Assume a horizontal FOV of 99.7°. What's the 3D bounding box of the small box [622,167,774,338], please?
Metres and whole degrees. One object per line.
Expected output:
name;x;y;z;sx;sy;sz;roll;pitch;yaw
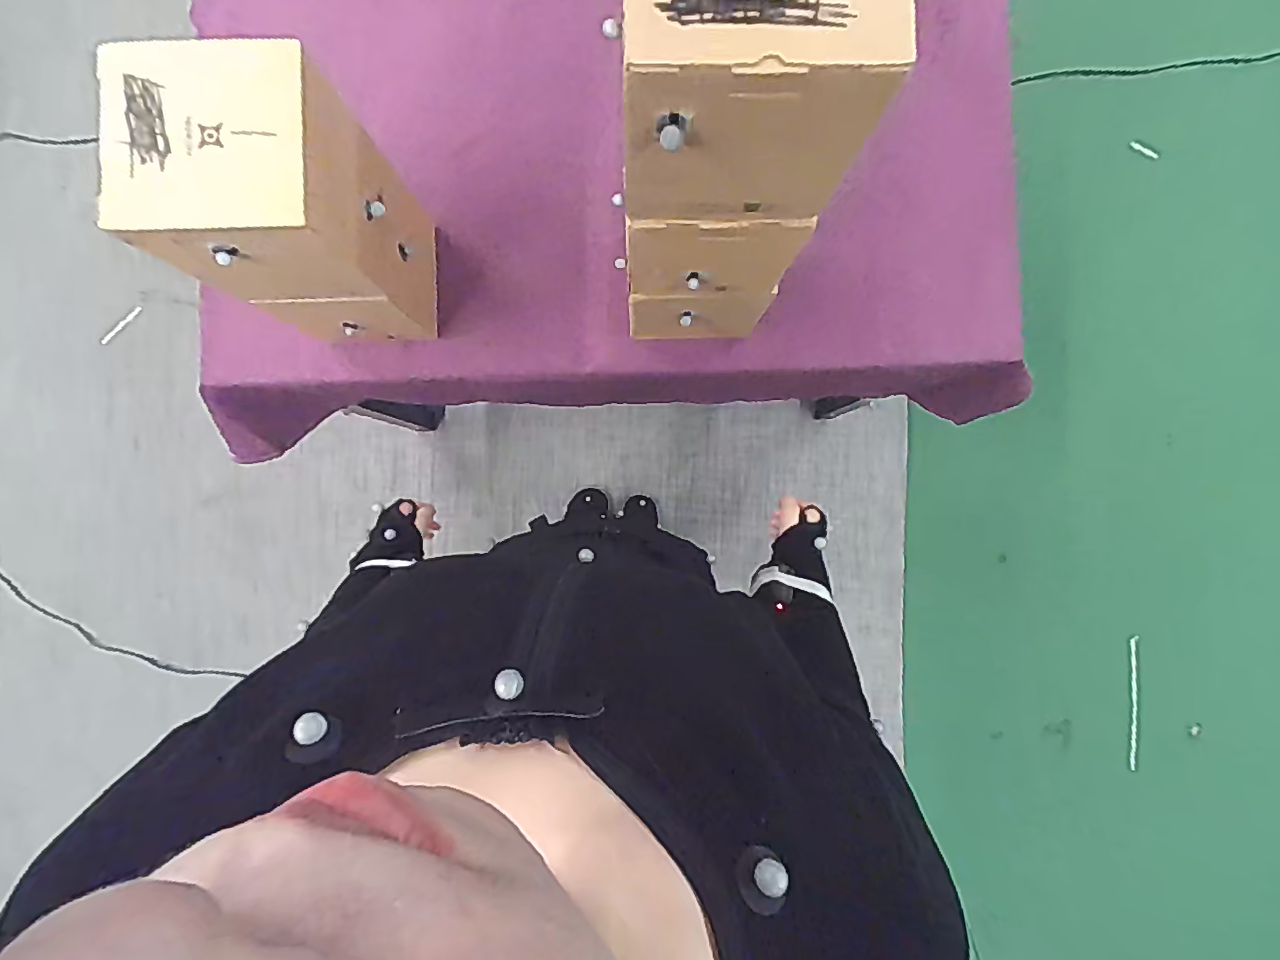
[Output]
small box;0.070;-0.292;0.716;0.179;0.176;0.168;-2;89;0

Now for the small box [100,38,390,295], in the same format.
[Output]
small box;-0.376;-0.296;0.544;0.179;0.176;0.168;-2;89;-2

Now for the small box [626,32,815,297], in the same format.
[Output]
small box;0.069;-0.305;0.553;0.168;0.176;0.179;-1;89;-1

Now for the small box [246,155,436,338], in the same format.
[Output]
small box;-0.378;-0.291;0.709;0.168;0.176;0.179;-1;88;-2
